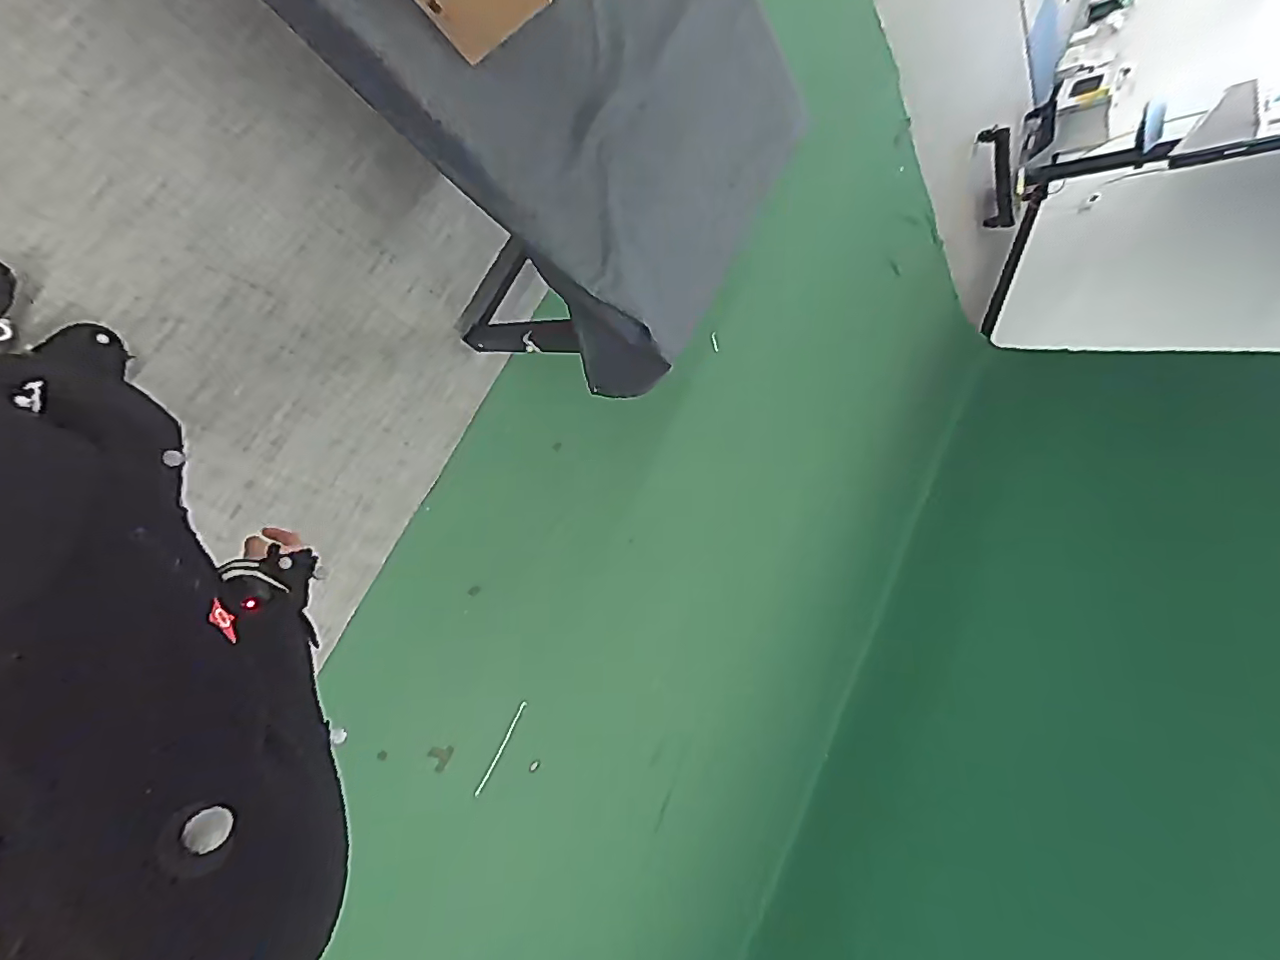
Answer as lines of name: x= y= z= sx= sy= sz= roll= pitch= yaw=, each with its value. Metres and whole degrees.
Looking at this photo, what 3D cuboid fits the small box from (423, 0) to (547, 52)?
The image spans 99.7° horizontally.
small box: x=-0.149 y=-0.580 z=0.525 sx=0.168 sy=0.176 sz=0.179 roll=35 pitch=77 yaw=-43
